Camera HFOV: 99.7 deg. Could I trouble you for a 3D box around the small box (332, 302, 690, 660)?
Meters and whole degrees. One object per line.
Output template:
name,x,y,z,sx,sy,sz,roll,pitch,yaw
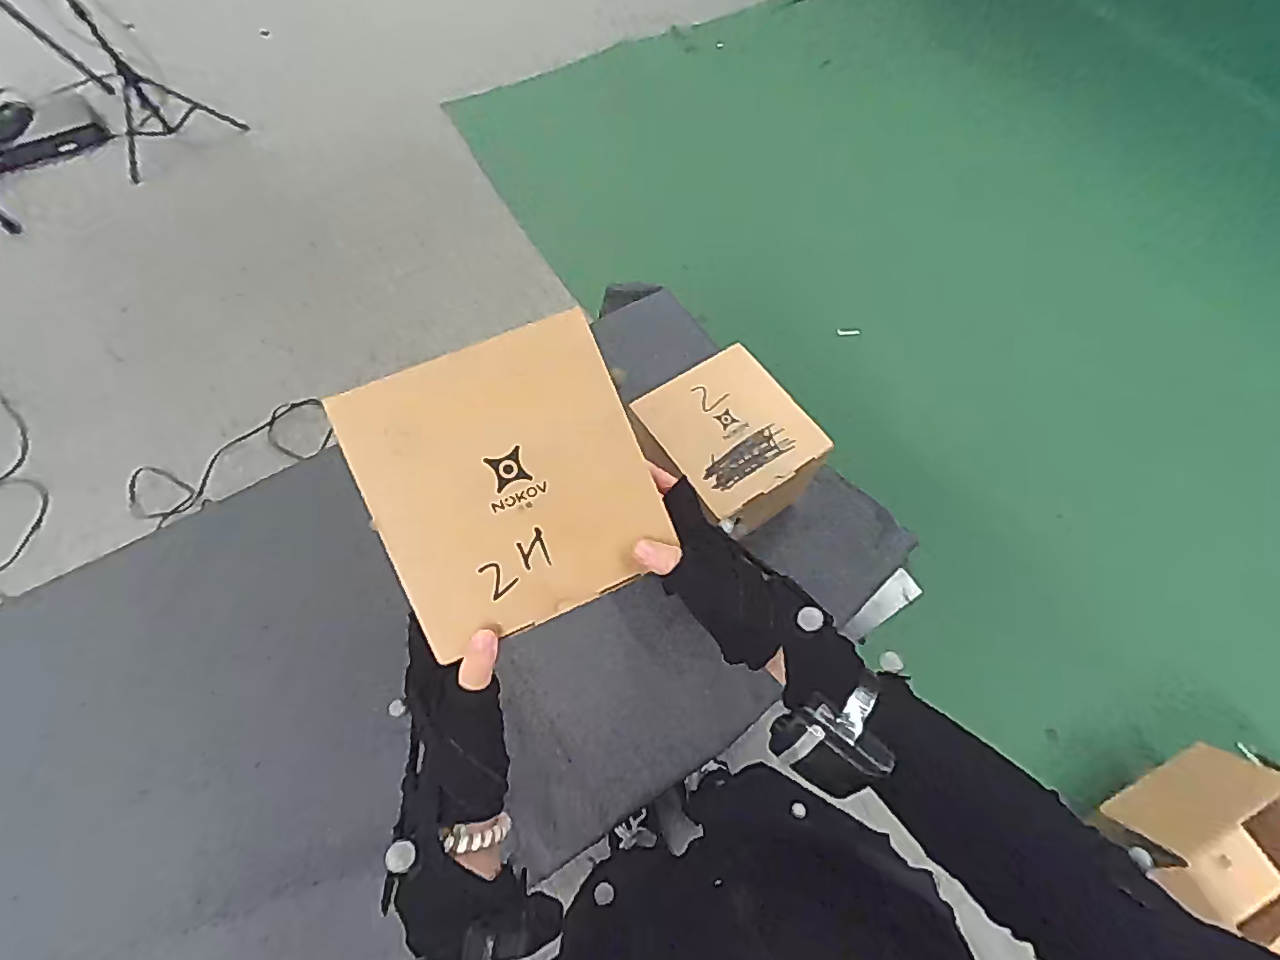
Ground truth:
small box,-0.086,-0.001,0.404,0.168,0.176,0.179,-23,94,-8
